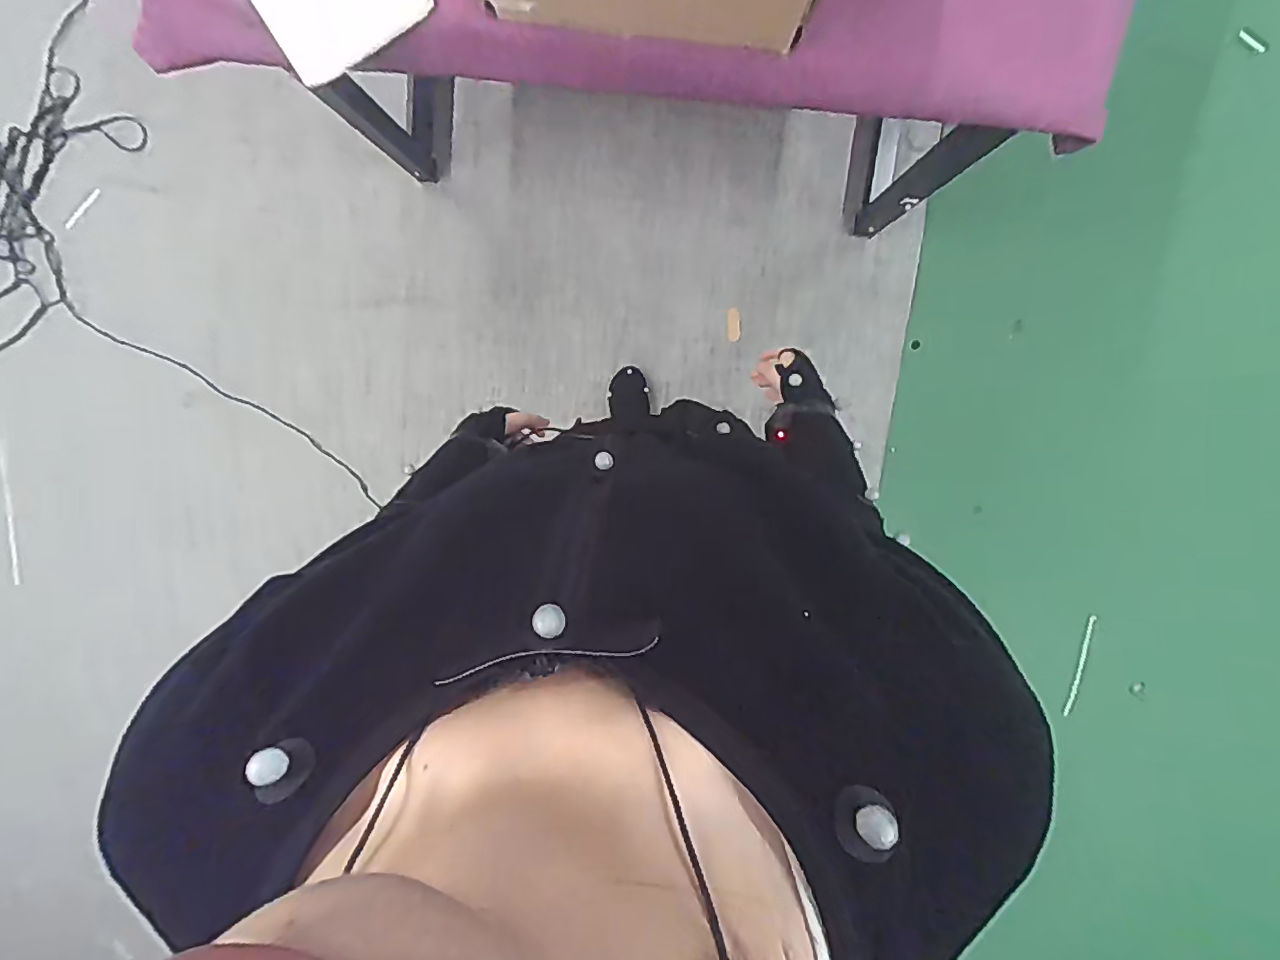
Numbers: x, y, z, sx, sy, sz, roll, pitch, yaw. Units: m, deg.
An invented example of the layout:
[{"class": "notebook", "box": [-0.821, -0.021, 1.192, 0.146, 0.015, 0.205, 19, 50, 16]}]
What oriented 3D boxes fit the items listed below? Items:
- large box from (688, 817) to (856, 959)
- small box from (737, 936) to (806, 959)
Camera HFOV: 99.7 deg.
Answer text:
[{"class": "large box", "box": [0.367, 1.244, 1.562, 0.408, 0.320, 0.320, -9, 100, 2]}, {"class": "small box", "box": [0.331, 1.258, 1.316, 0.168, 0.176, 0.179, -3, 99, 3]}]
